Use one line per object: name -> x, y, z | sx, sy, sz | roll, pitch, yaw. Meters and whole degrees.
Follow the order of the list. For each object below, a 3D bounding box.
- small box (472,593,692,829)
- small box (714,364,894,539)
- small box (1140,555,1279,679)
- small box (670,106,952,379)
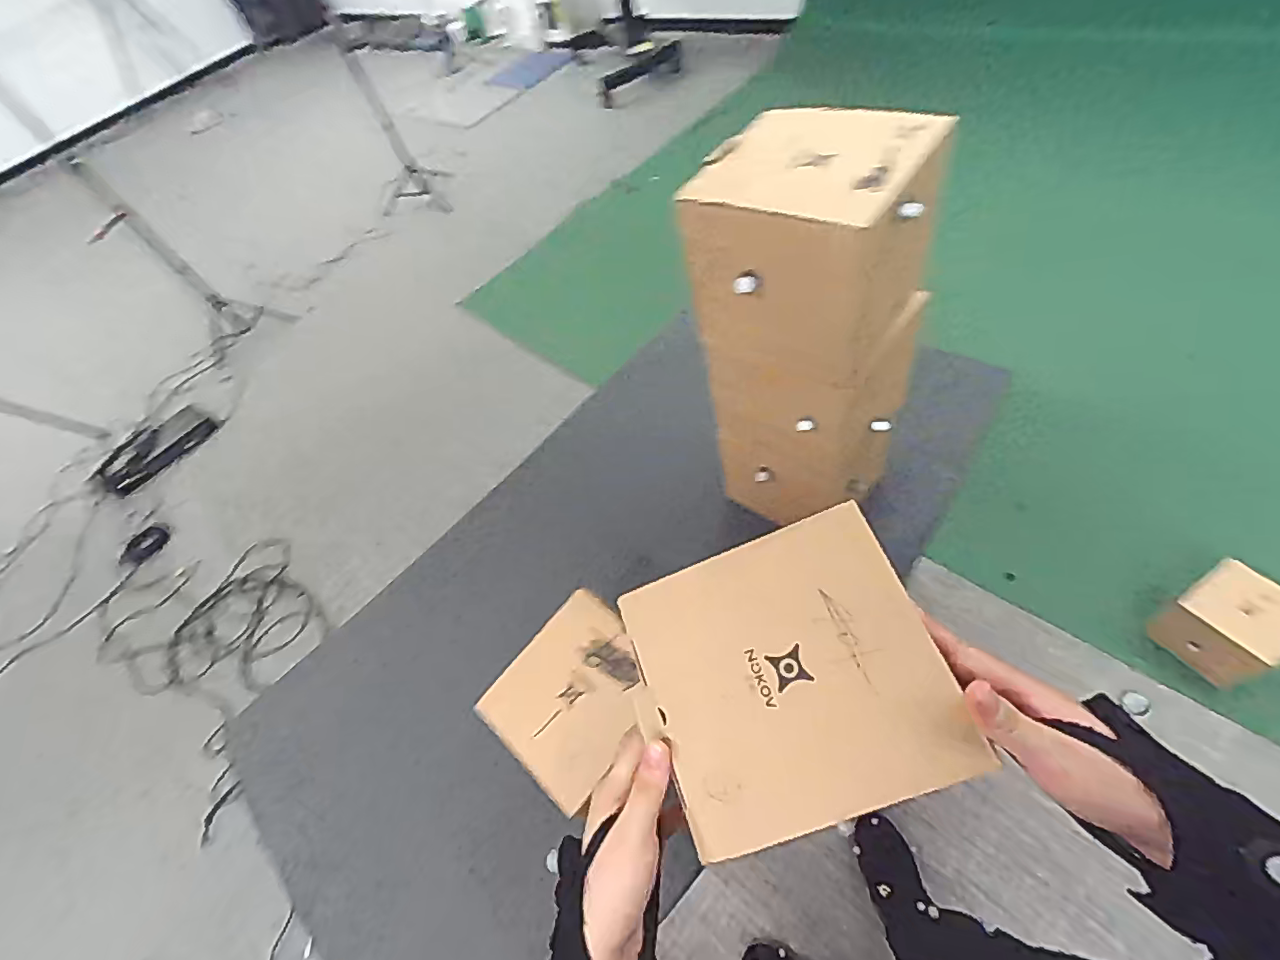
small box -> -0.054, 0.272, 0.636 | 0.168, 0.176, 0.179 | 32, 70, 31
small box -> 0.232, -0.039, 0.776 | 0.179, 0.176, 0.168 | 30, 68, 32
small box -> 1.254, 0.304, 1.177 | 0.179, 0.176, 0.168 | -33, 56, -9
small box -> 0.157, -0.222, 0.514 | 0.179, 0.176, 0.168 | 27, 67, 30
